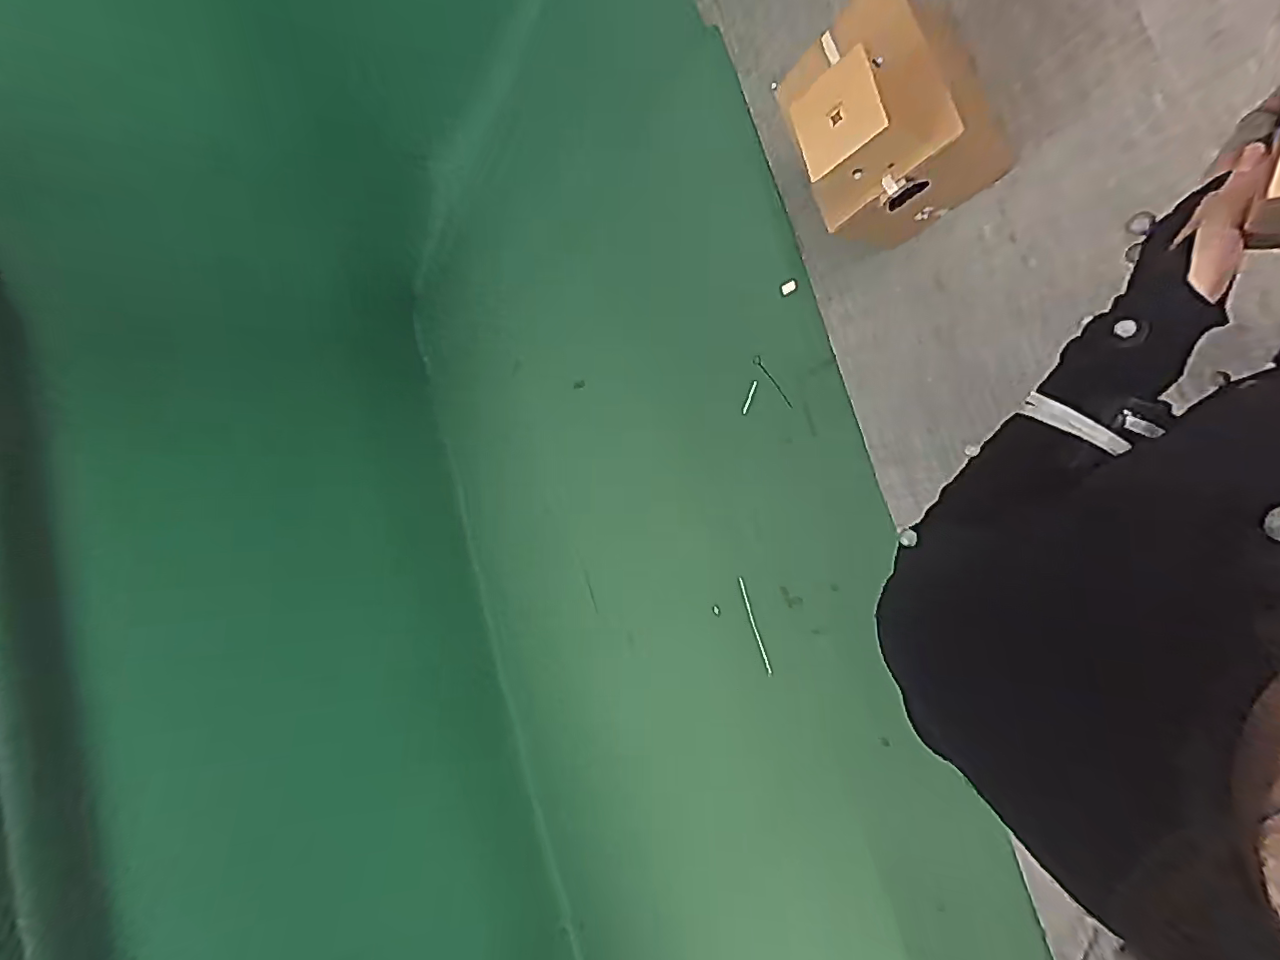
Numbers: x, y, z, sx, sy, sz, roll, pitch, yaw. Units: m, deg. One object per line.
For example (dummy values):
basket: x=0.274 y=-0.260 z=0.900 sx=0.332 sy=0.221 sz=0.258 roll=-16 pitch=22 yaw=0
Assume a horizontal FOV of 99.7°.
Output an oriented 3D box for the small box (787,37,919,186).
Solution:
small box: x=0.433 y=-0.726 z=1.094 sx=0.168 sy=0.176 sz=0.179 roll=-21 pitch=81 yaw=49

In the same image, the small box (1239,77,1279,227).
small box: x=0.430 y=-0.223 z=0.253 sx=0.168 sy=0.176 sz=0.179 roll=19 pitch=112 yaw=40

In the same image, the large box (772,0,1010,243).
large box: x=0.583 y=-0.841 z=1.273 sx=0.320 sy=0.320 sz=0.408 roll=-26 pitch=78 yaw=49
